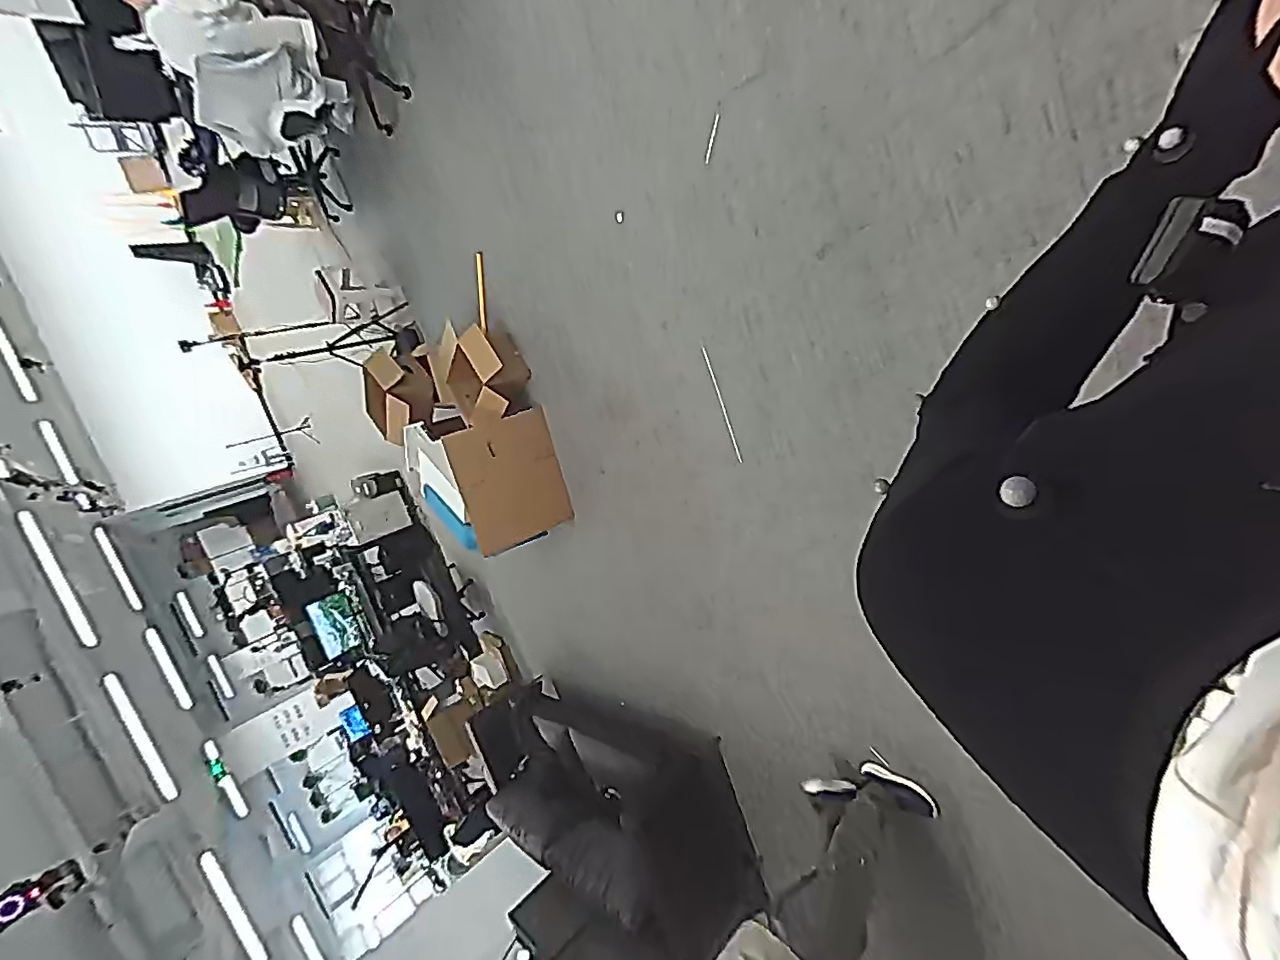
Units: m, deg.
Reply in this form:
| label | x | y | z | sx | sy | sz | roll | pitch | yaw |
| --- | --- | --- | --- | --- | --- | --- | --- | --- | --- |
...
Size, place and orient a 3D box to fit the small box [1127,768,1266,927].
| label | x | y | z | sx | sy | sz | roll | pitch | yaw |
| --- | --- | --- | --- | --- | --- | --- | --- | --- | --- |
| small box | 1.161 | 0.755 | 1.129 | 0.168 | 0.176 | 0.179 | 18 | 122 | 43 |
